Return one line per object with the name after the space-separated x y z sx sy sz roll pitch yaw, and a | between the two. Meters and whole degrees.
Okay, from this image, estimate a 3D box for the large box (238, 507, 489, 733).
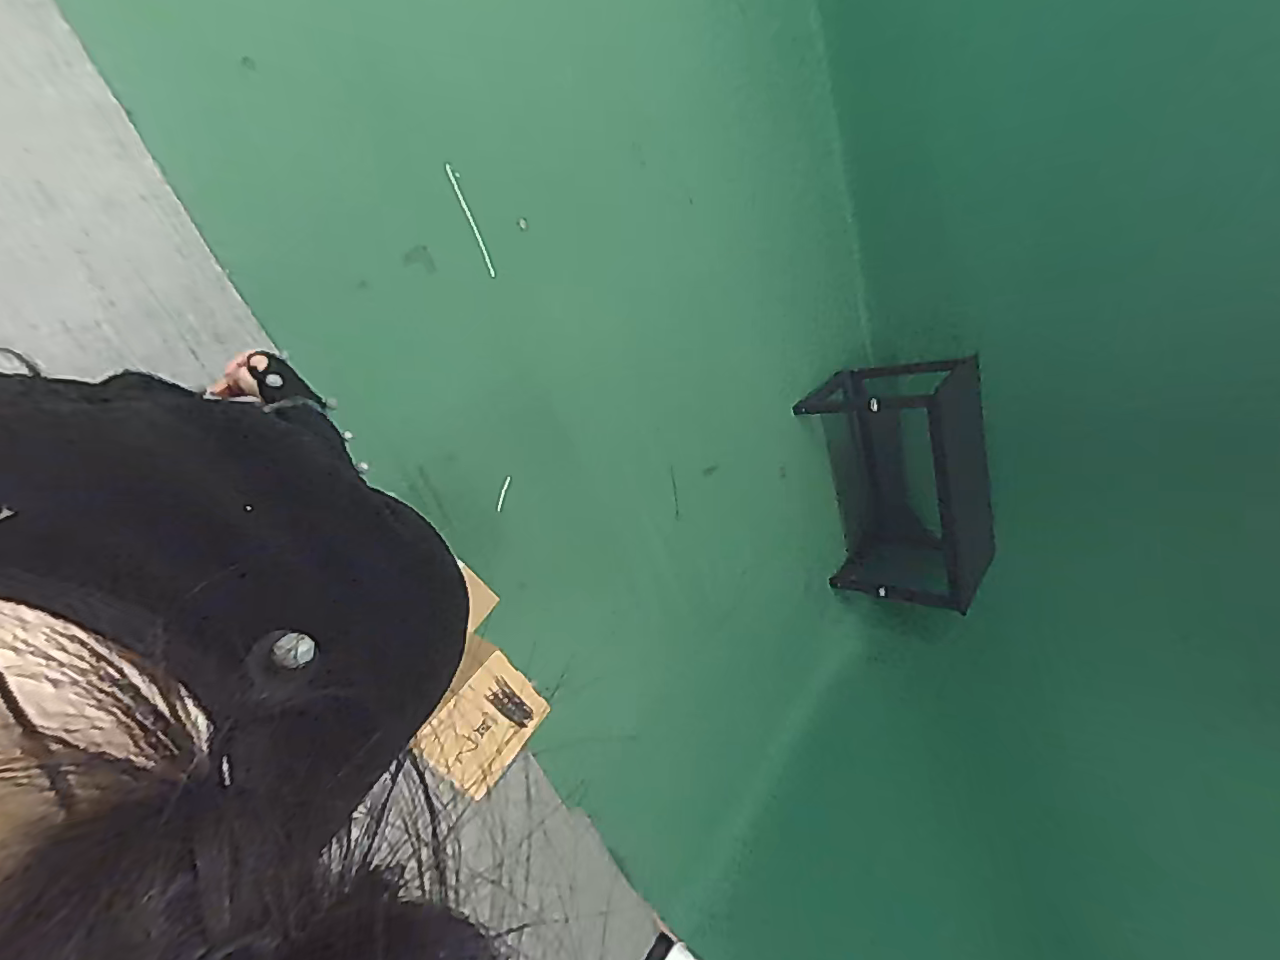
-0.667 0.320 1.327 0.408 0.320 0.320 -54 128 -29 | large box
